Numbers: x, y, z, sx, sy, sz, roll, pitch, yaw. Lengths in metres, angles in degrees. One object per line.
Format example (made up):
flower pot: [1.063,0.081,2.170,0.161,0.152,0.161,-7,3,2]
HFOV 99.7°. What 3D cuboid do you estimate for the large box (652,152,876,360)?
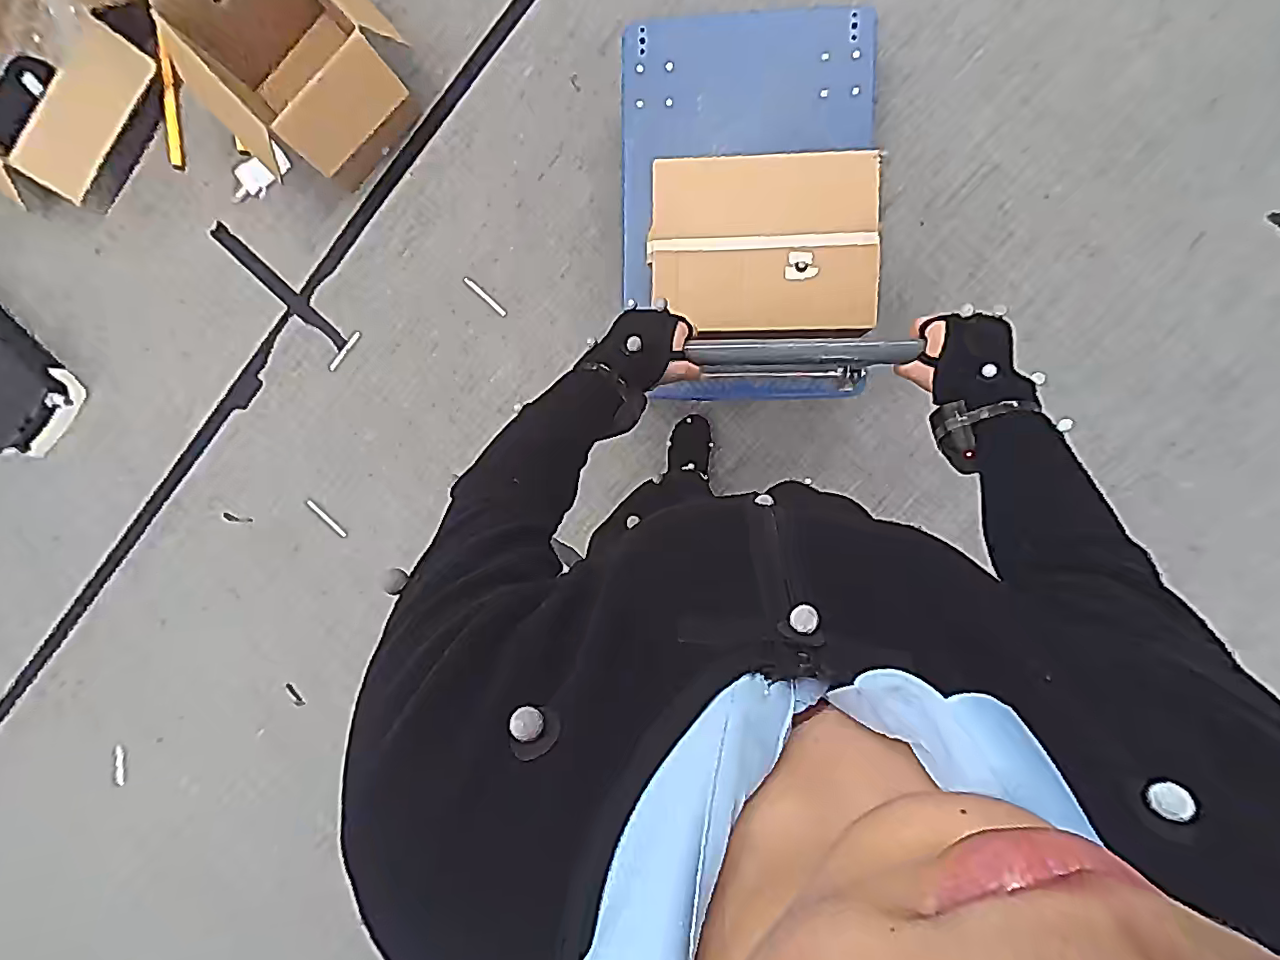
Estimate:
large box: [0.233,-0.436,1.131,0.408,0.320,0.320,0,94,4]
